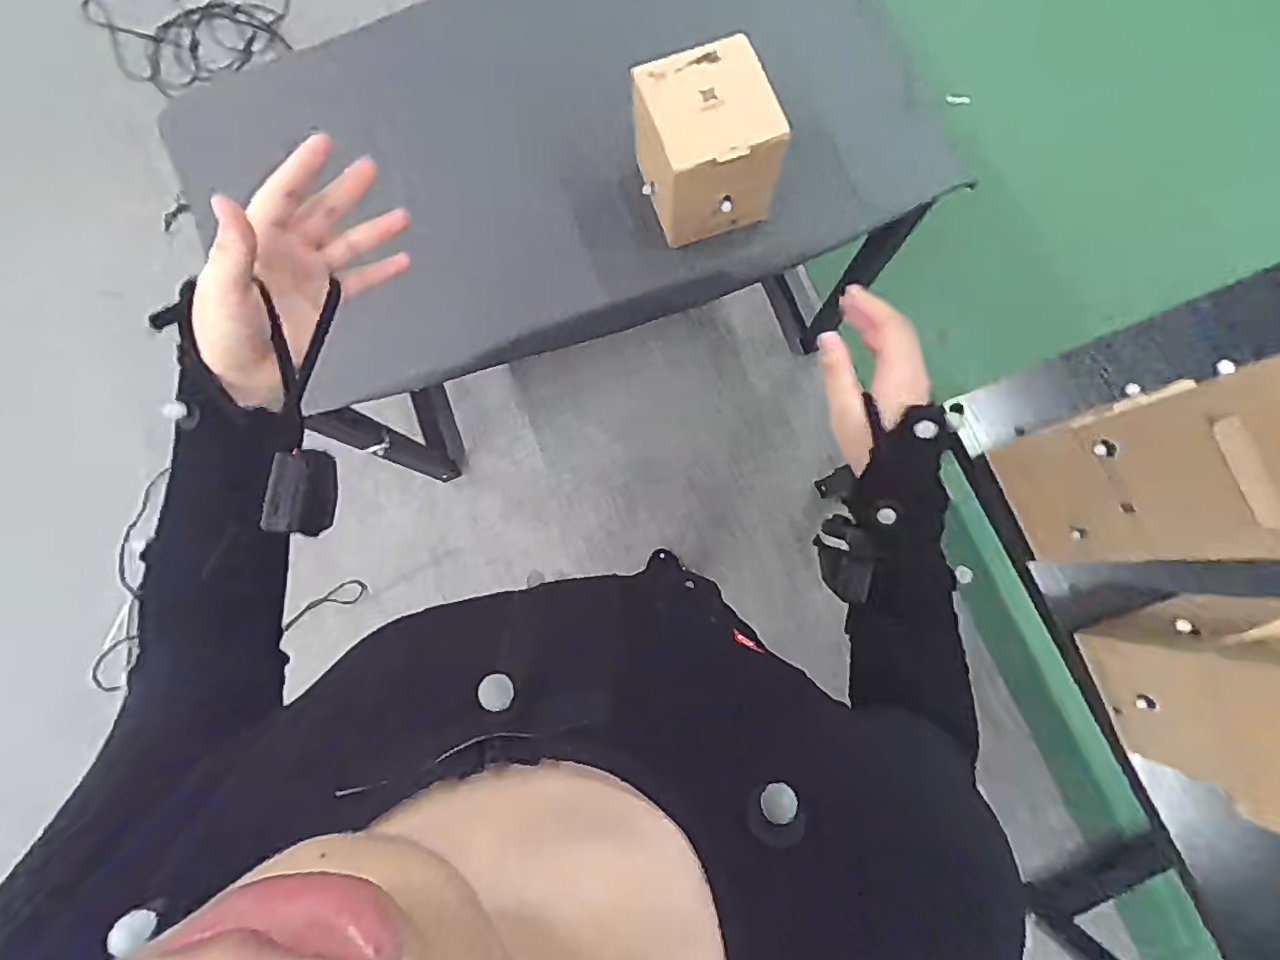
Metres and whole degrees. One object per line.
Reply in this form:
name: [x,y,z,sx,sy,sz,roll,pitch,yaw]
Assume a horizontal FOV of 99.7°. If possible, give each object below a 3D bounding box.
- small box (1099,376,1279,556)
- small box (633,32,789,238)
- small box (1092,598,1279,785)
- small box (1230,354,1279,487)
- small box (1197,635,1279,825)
small box: [0.619,-0.025,0.542,0.179,0.176,0.168,-19,82,-2]
small box: [0.098,-0.486,0.793,0.168,0.176,0.179,-19,80,-1]
small box: [0.713,0.252,0.663,0.179,0.176,0.168,-18,82,-1]
small box: [0.607,-0.045,0.381,0.168,0.176,0.179,-18,81,-3]
small box: [0.695,0.247,0.500,0.168,0.176,0.179,-10,81,1]
